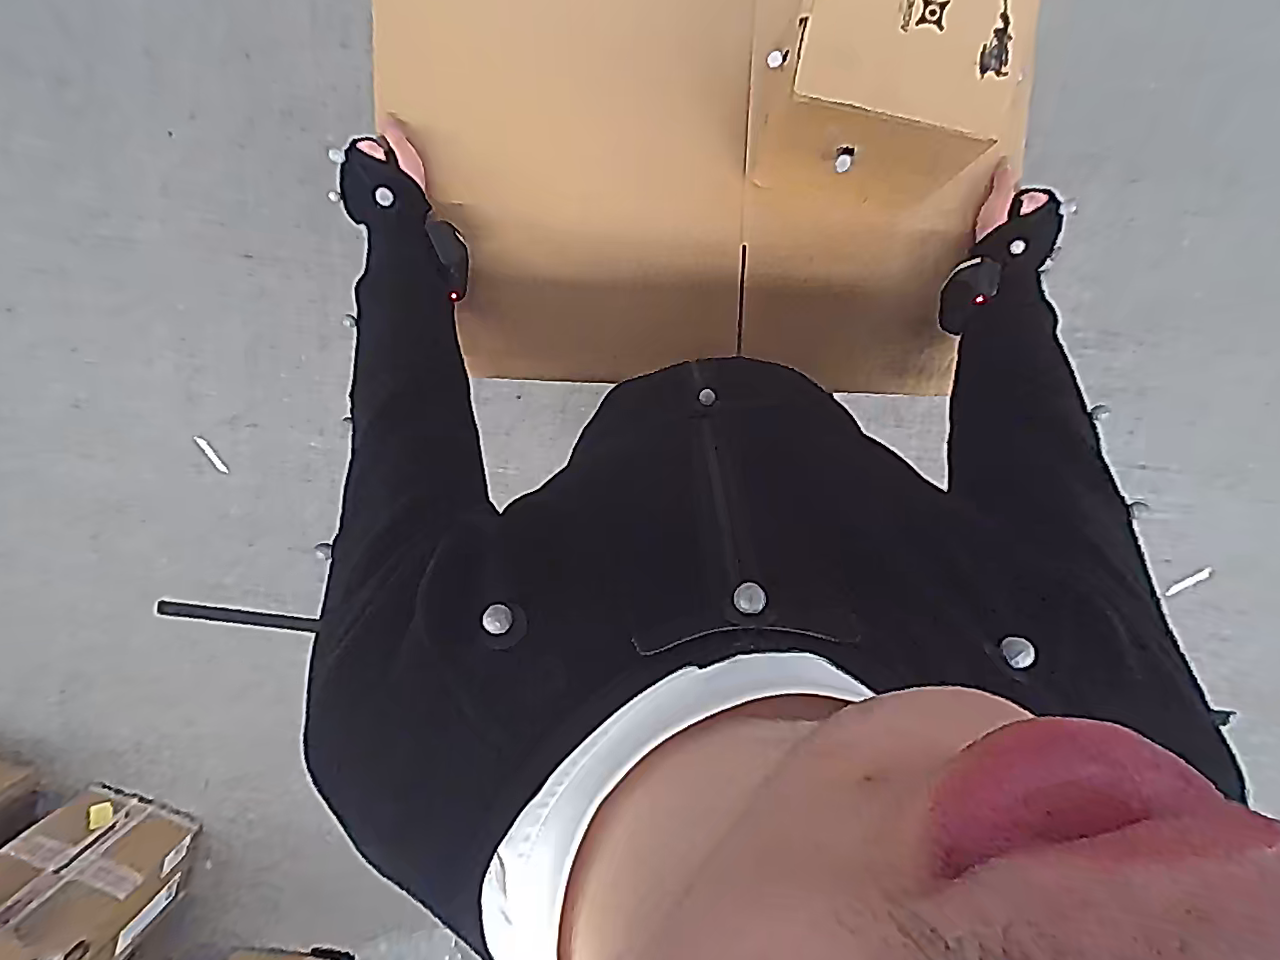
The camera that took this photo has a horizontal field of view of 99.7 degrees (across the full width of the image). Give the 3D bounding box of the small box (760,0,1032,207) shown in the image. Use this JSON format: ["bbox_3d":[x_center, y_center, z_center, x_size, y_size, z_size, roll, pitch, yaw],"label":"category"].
[{"bbox_3d":[0.225,-0.384,0.511,0.179,0.176,0.168,12,97,1],"label":"small box"}]
